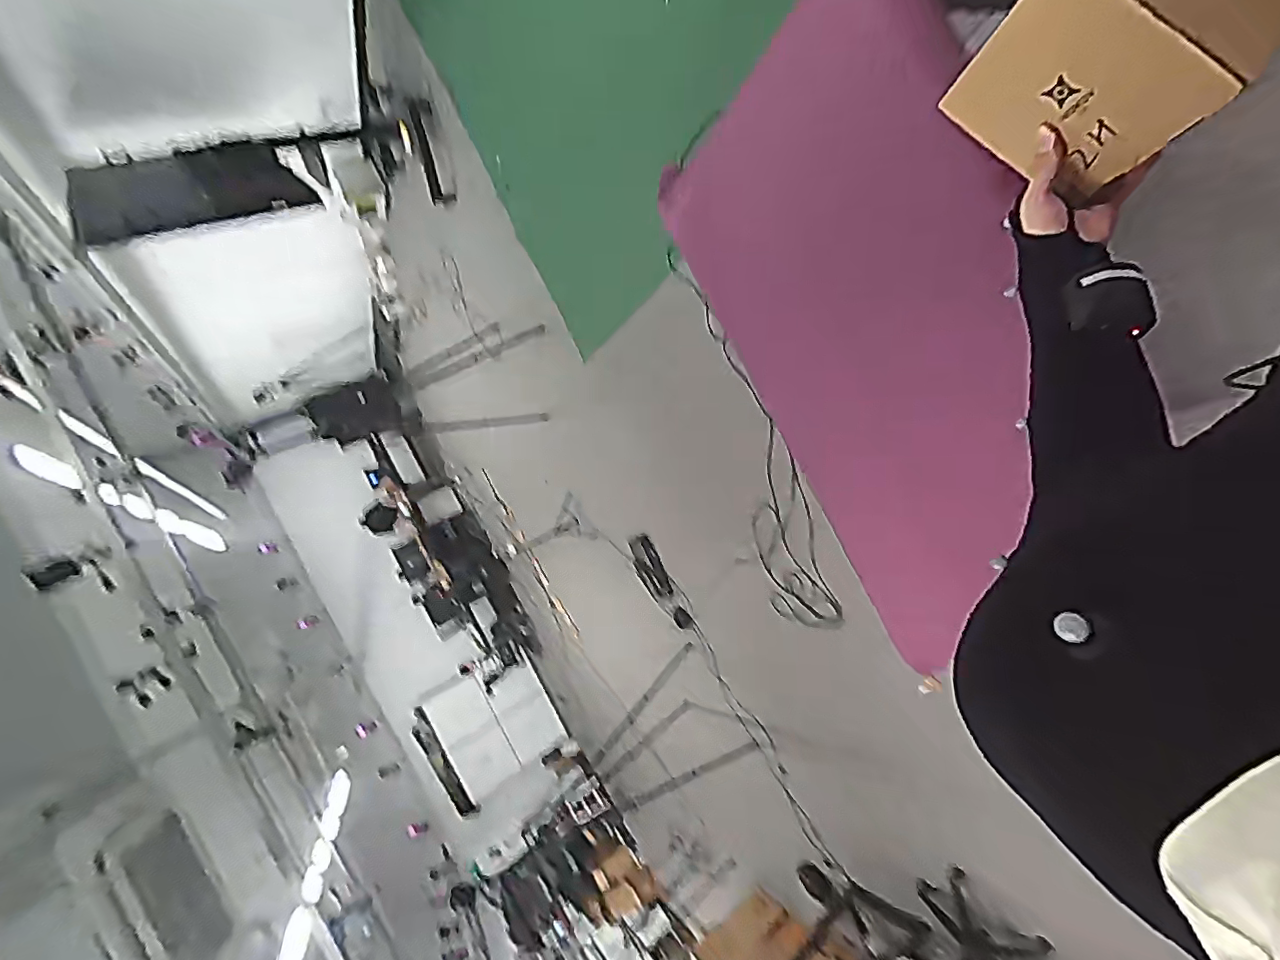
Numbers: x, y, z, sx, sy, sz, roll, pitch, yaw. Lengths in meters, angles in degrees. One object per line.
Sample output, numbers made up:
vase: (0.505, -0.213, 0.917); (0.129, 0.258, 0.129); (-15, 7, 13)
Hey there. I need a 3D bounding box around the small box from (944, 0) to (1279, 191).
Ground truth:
small box: (0.425, -0.410, 0.471); (0.179, 0.176, 0.168); (39, 178, 1)
